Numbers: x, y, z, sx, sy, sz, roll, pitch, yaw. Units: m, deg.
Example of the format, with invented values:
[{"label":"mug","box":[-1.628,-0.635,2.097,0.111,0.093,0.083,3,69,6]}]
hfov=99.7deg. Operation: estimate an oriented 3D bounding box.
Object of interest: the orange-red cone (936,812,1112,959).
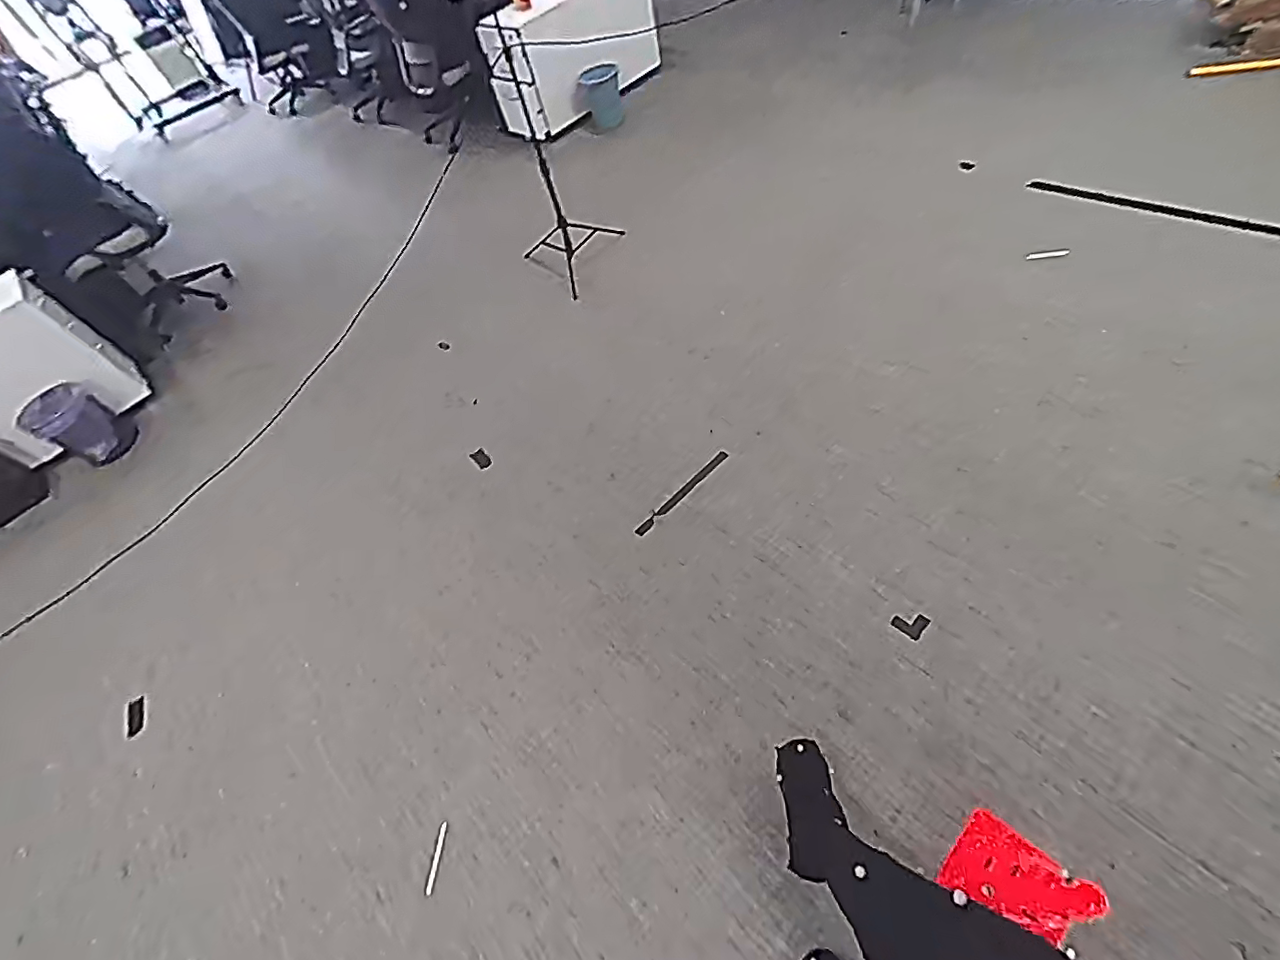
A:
[{"label":"orange-red cone","box":[0.668,0.681,0.893,0.198,0.360,0.199,35,69,31]}]
